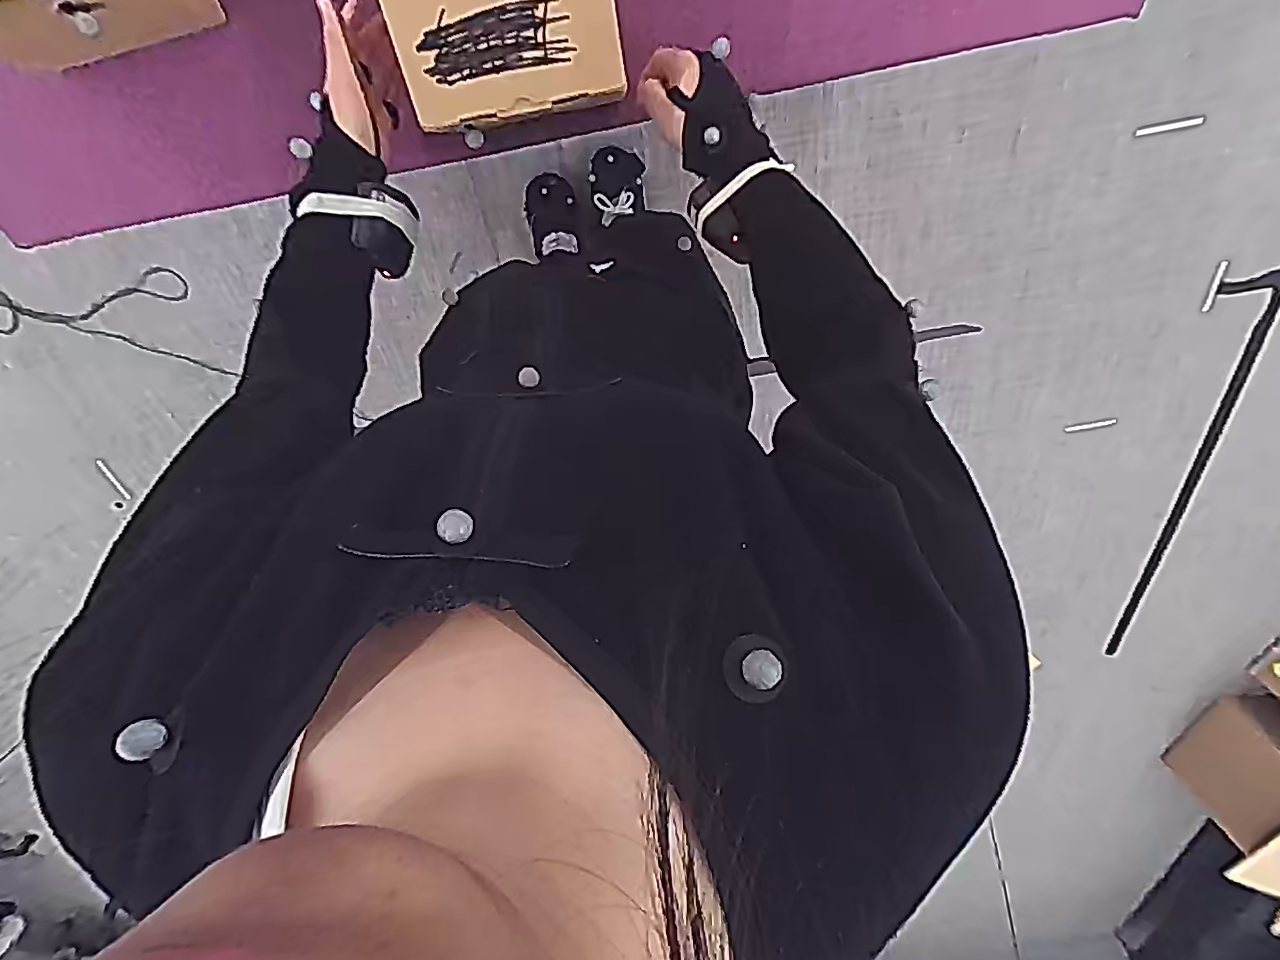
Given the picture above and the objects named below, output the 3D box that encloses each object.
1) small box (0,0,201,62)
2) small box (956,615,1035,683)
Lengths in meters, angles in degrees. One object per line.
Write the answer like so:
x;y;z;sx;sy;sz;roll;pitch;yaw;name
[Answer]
-0.474;-0.430;0.391;0.179;0.176;0.168;-13;121;3;small box
1.397;0.661;2.135;0.179;0.176;0.168;36;115;-25;small box
